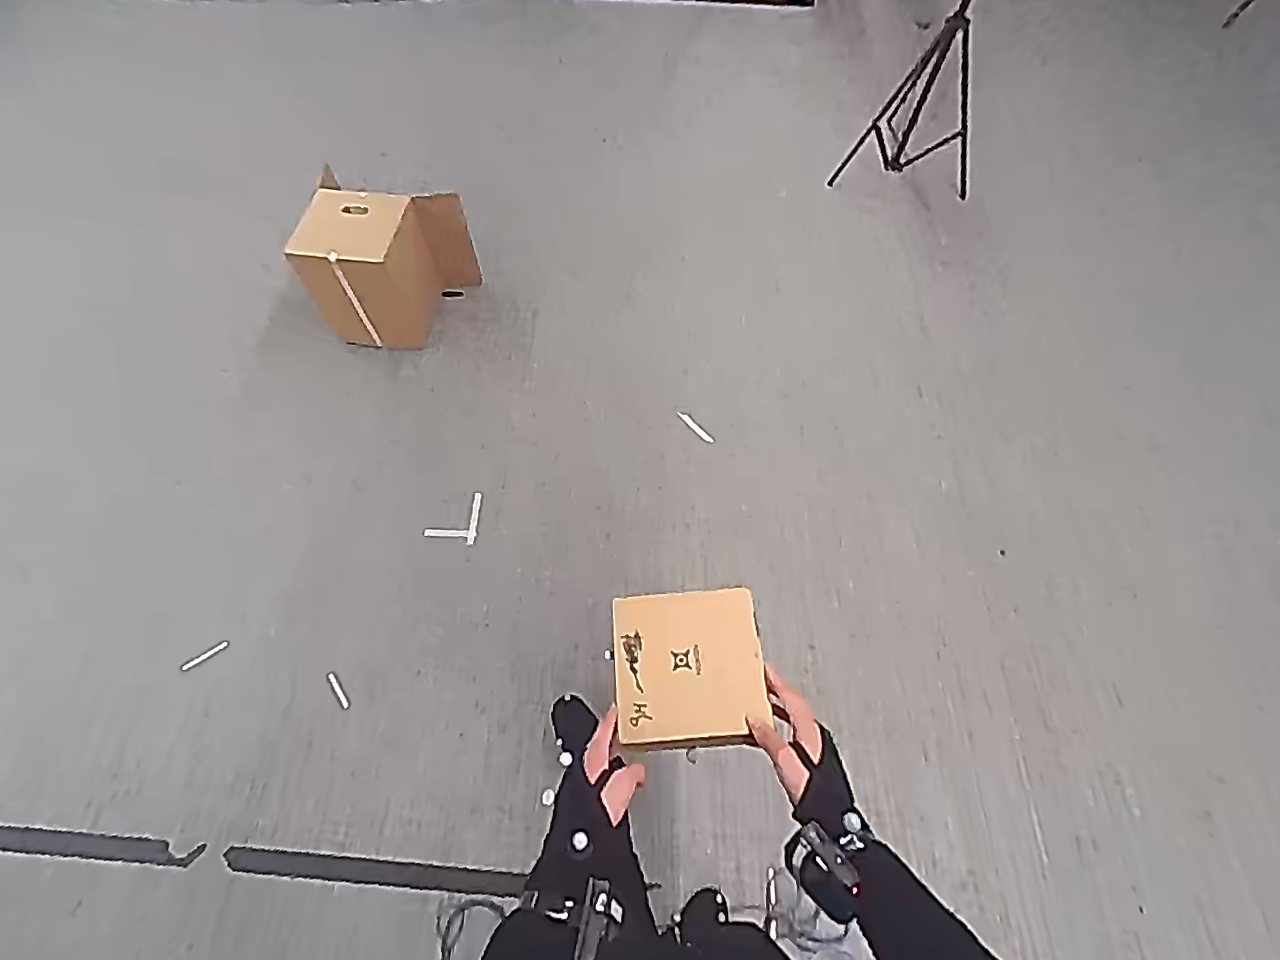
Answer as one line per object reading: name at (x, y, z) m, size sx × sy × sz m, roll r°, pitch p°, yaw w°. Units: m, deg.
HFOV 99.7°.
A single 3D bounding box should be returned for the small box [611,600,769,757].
small box at (0.056, 0.265, 0.710) m, size 0.179 × 0.176 × 0.168 m, roll -4°, pitch 60°, yaw 0°
